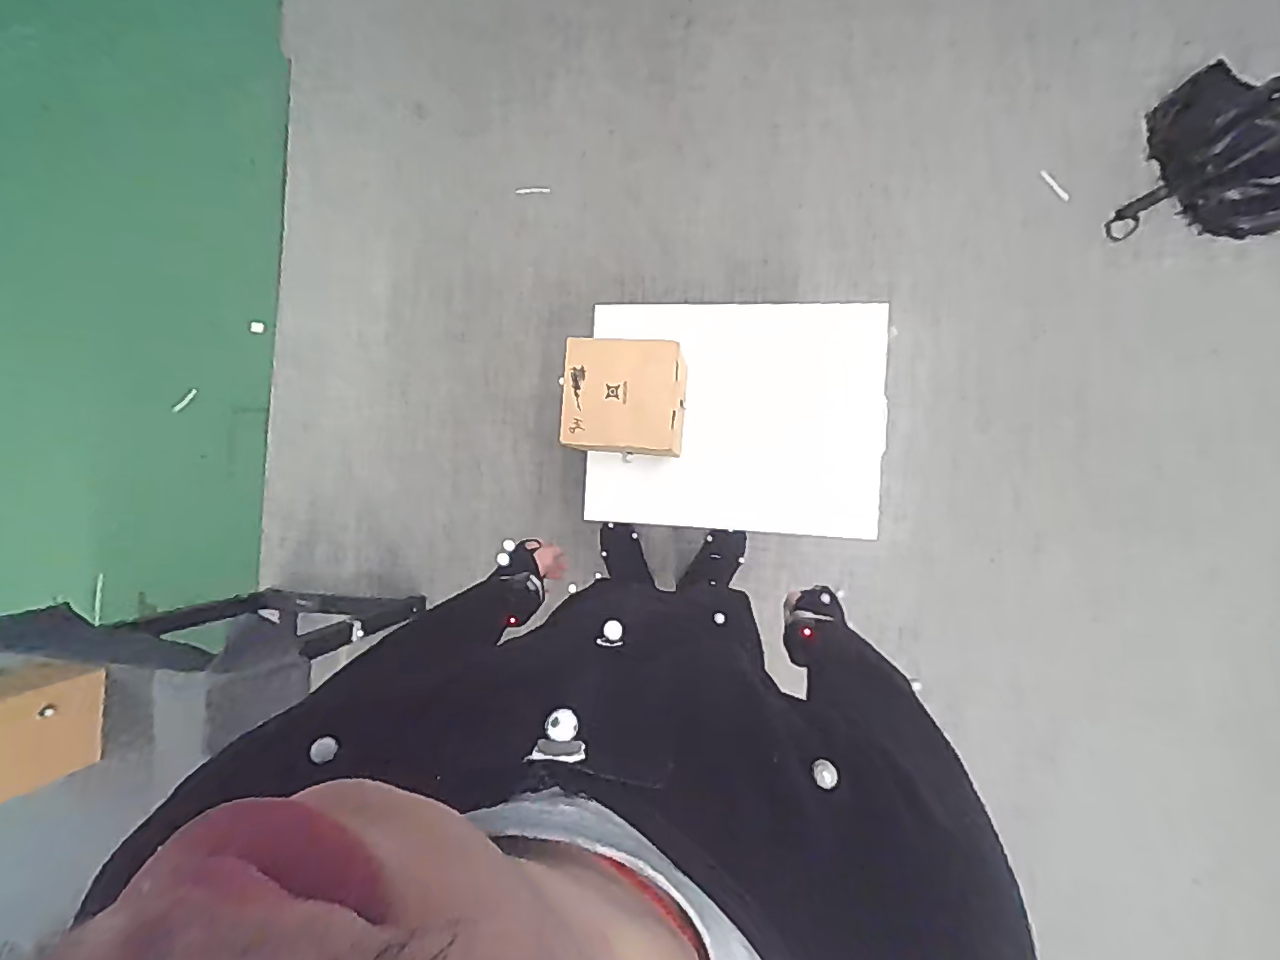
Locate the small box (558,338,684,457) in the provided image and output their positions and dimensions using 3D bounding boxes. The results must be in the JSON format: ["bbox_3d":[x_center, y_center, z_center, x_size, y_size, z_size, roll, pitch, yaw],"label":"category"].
[{"bbox_3d":[-0.023,-0.127,0.890,0.179,0.176,0.168,5,90,9],"label":"small box"}]

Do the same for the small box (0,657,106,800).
[{"bbox_3d":[-1.093,0.426,0.947,0.168,0.176,0.179,4,92,12],"label":"small box"}]
